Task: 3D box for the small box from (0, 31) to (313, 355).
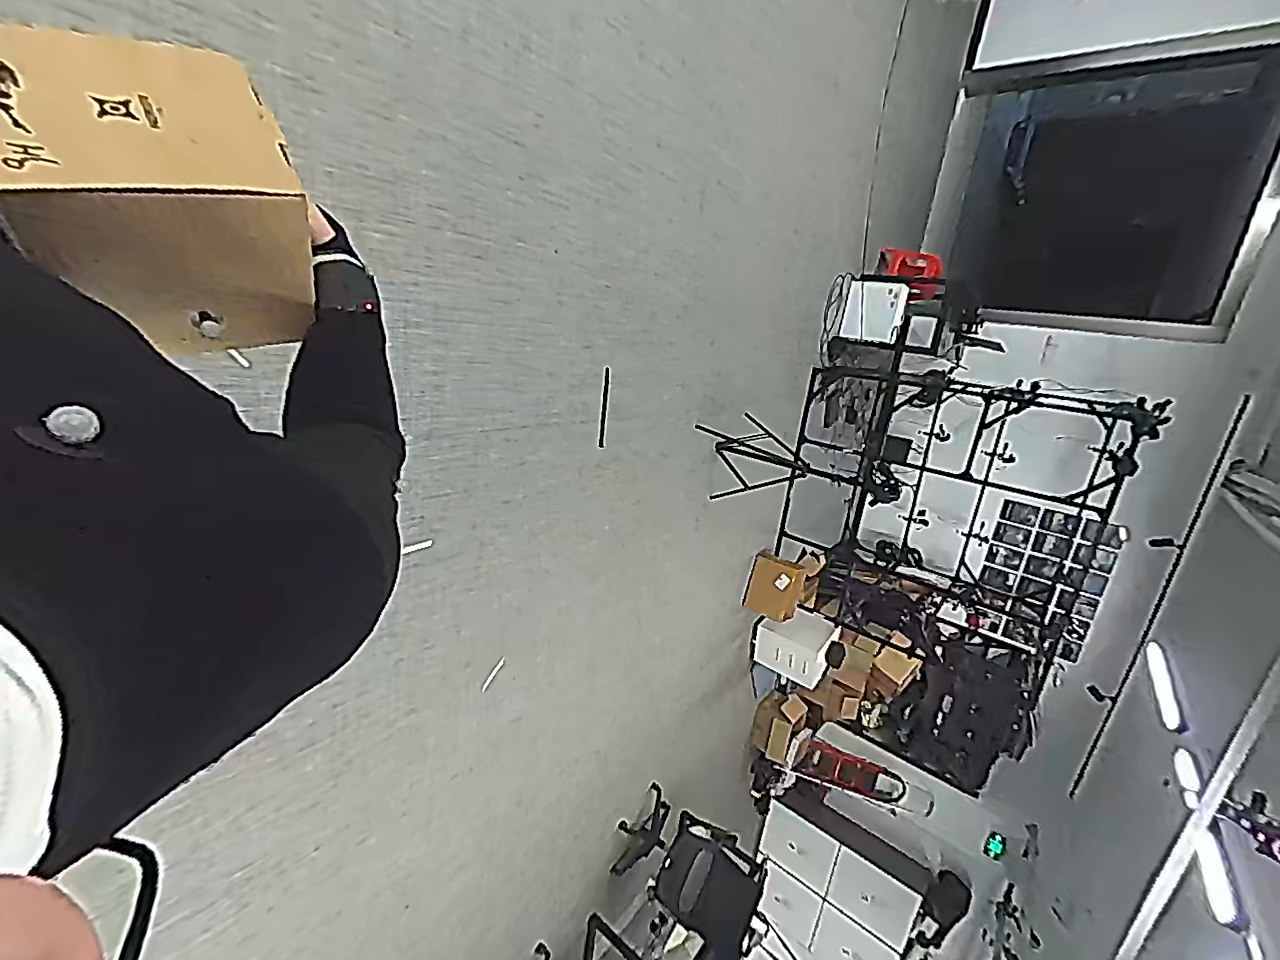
[{"bbox_3d":[-0.407,-0.231,0.469,0.179,0.168,0.176,-20,162,-37],"label":"small box"}]
